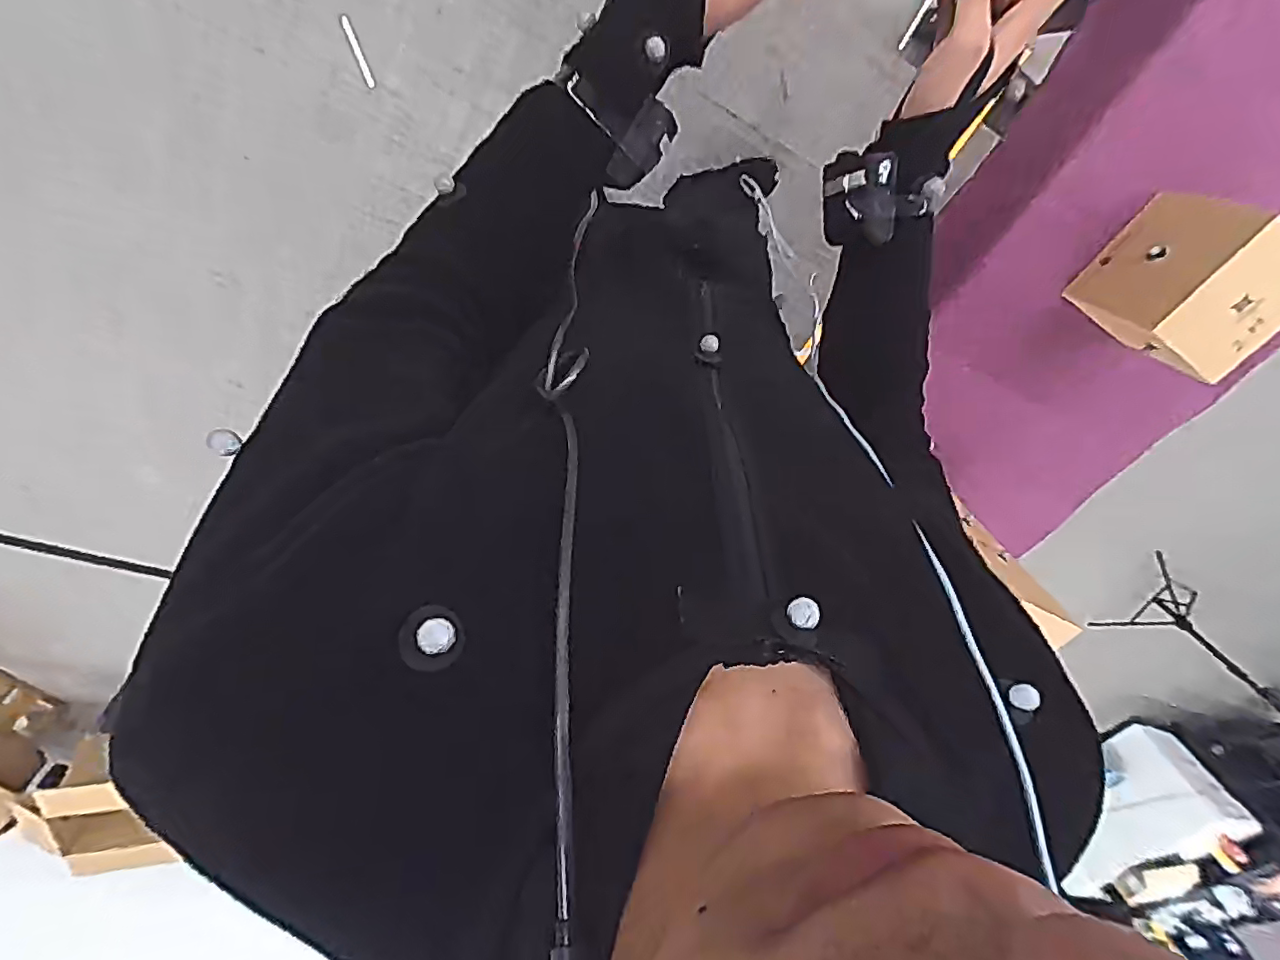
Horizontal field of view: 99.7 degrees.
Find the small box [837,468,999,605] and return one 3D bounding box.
[{"bbox_3d":[0.510,0.101,1.019,0.179,0.176,0.168,22,120,-23],"label":"small box"}]

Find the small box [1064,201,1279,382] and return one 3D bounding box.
[{"bbox_3d":[0.776,-0.276,0.778,0.179,0.176,0.168,23,121,-22],"label":"small box"}]
